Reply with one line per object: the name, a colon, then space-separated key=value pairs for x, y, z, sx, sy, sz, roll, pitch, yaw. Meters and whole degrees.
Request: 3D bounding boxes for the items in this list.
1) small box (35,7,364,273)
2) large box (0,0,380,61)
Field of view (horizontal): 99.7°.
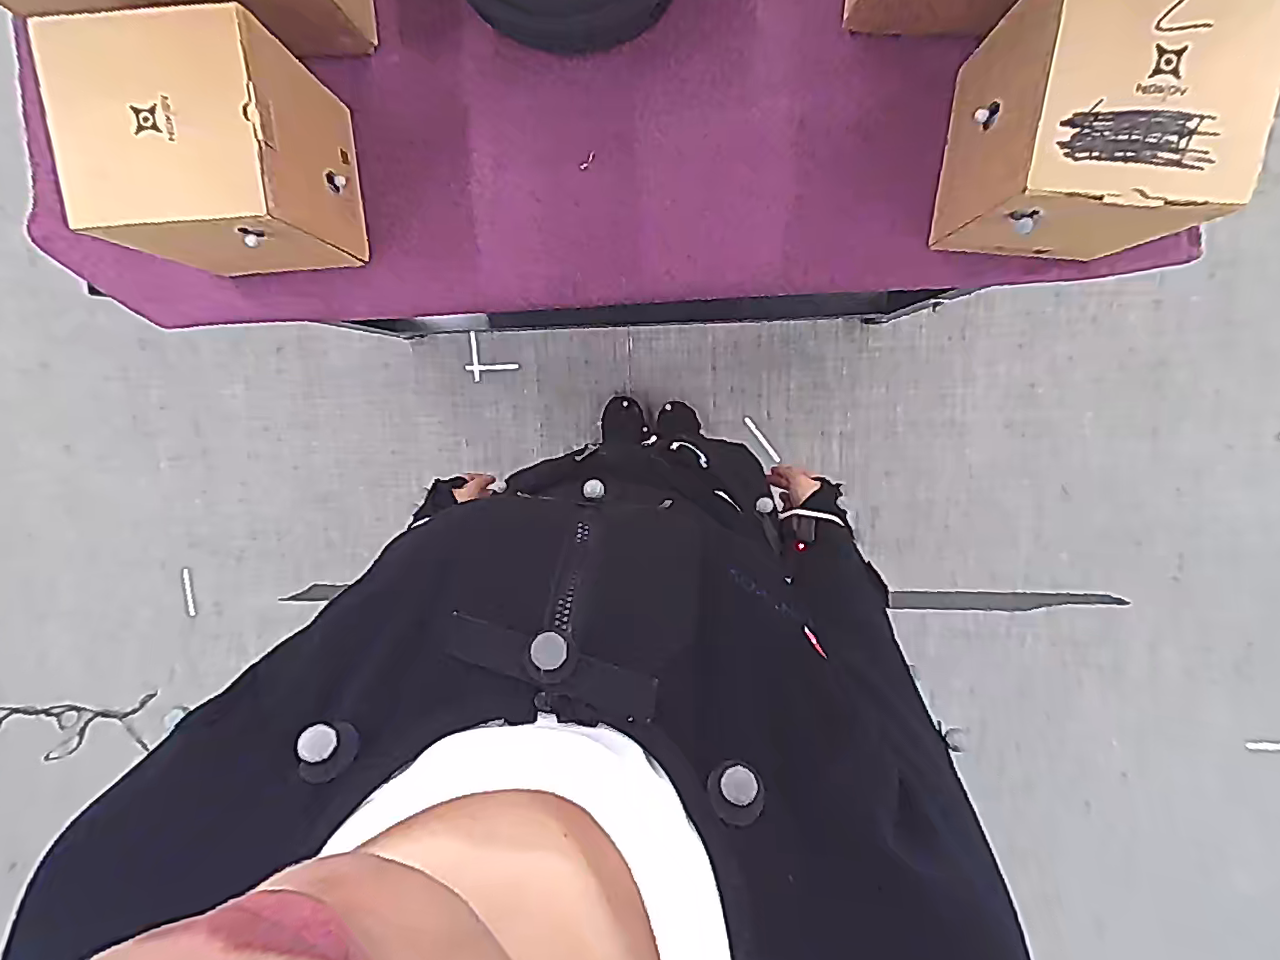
small box: x=-0.409 y=-0.313 z=0.535 sx=0.179 sy=0.176 sz=0.168 roll=-4 pitch=98 yaw=1
large box: x=-0.446 y=-0.627 z=0.416 sx=0.320 sy=0.320 sz=0.408 roll=-2 pitch=102 yaw=3
